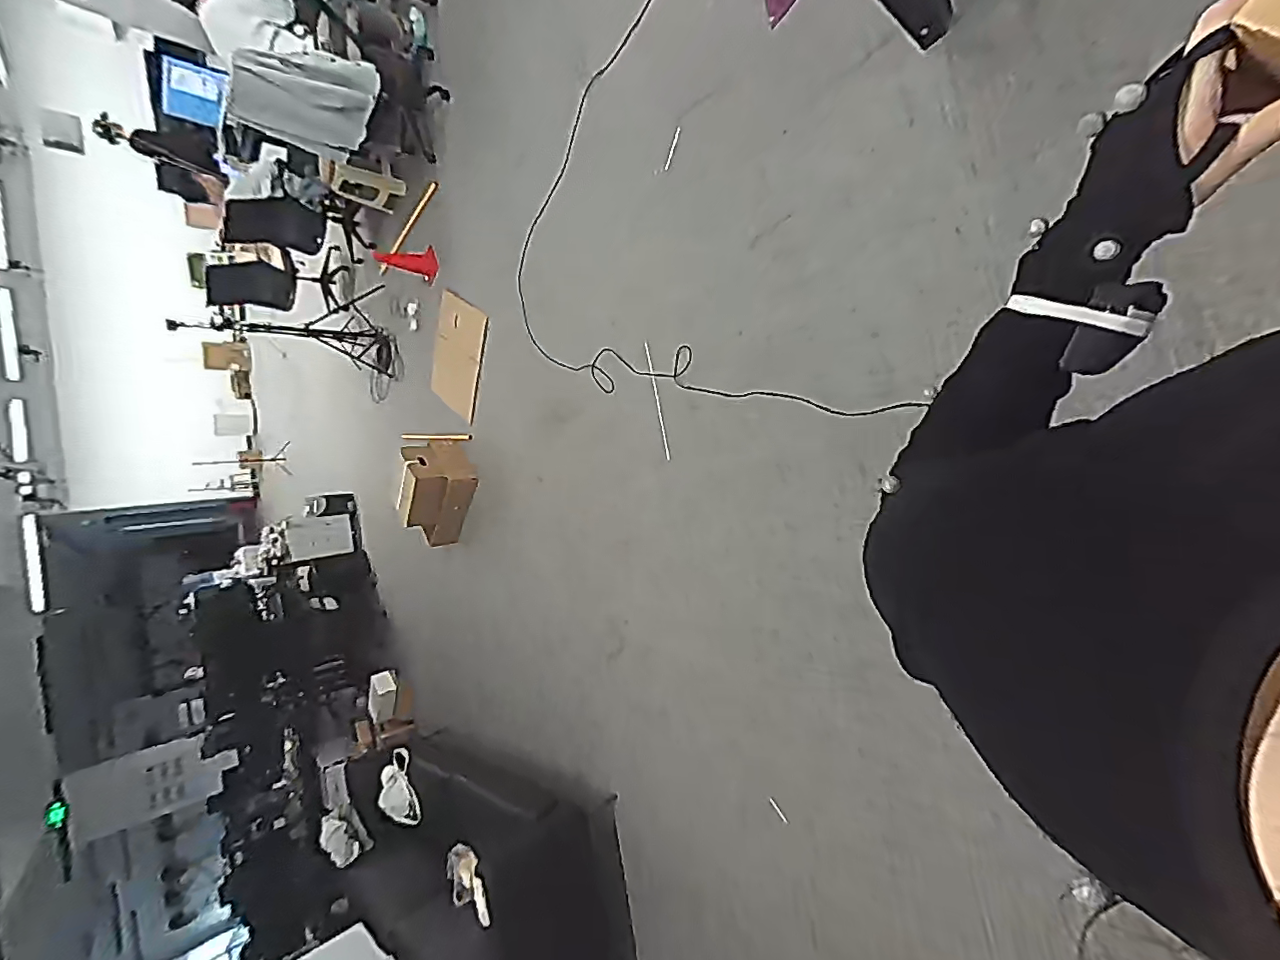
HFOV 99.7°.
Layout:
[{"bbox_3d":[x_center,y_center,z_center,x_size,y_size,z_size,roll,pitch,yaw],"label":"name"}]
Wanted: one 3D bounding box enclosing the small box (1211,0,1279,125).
[{"bbox_3d":[0.444,-0.261,0.263,0.179,0.176,0.168,49,134,22],"label":"small box"}]
